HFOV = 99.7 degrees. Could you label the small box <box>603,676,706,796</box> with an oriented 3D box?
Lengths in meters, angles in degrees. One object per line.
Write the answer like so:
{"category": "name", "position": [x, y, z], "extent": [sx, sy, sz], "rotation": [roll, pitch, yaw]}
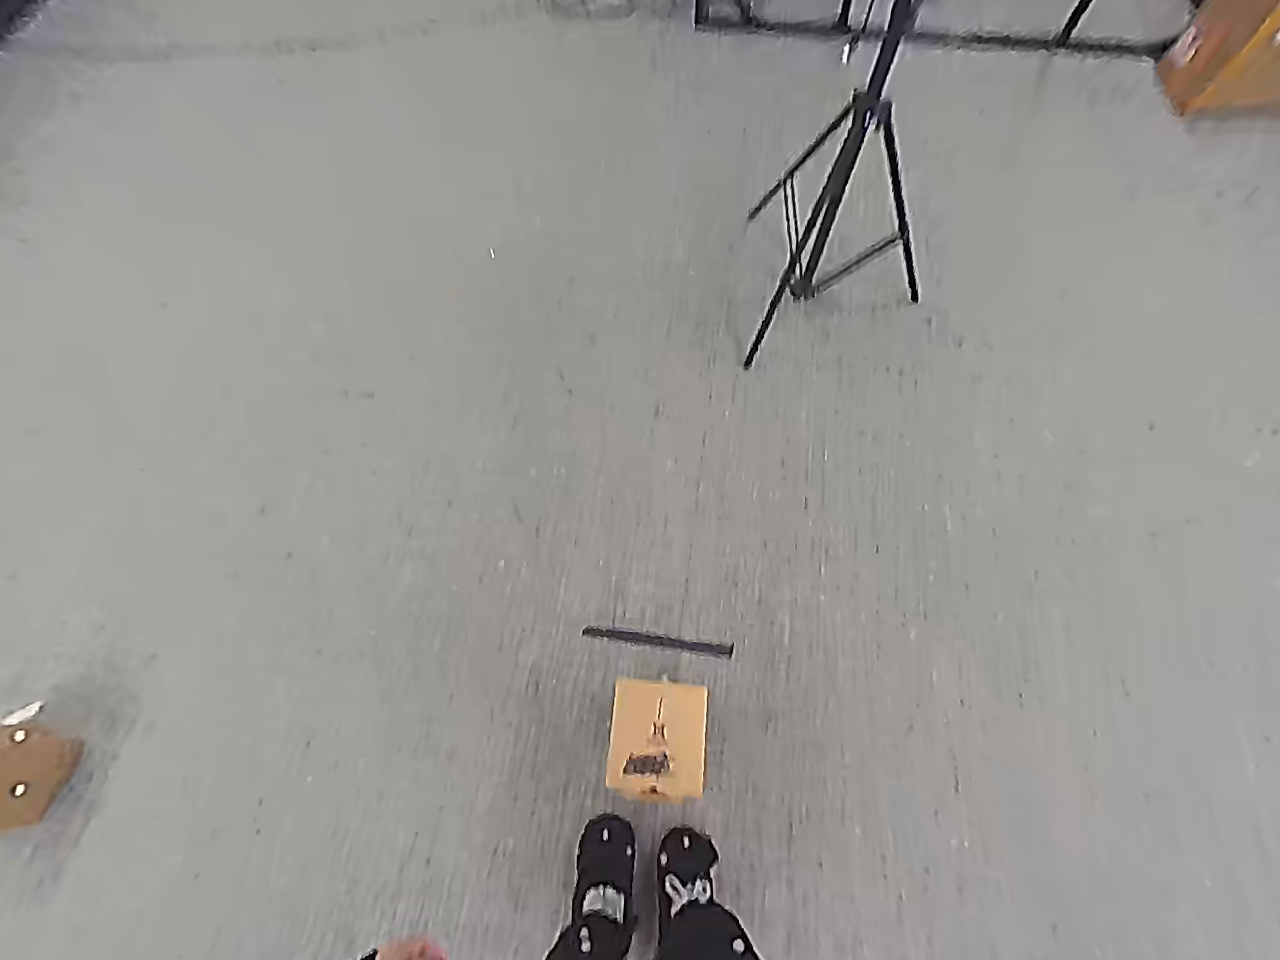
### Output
{"category": "small box", "position": [0.030, 0.470, 1.011], "extent": [0.168, 0.176, 0.179], "rotation": [5, 67, 3]}
